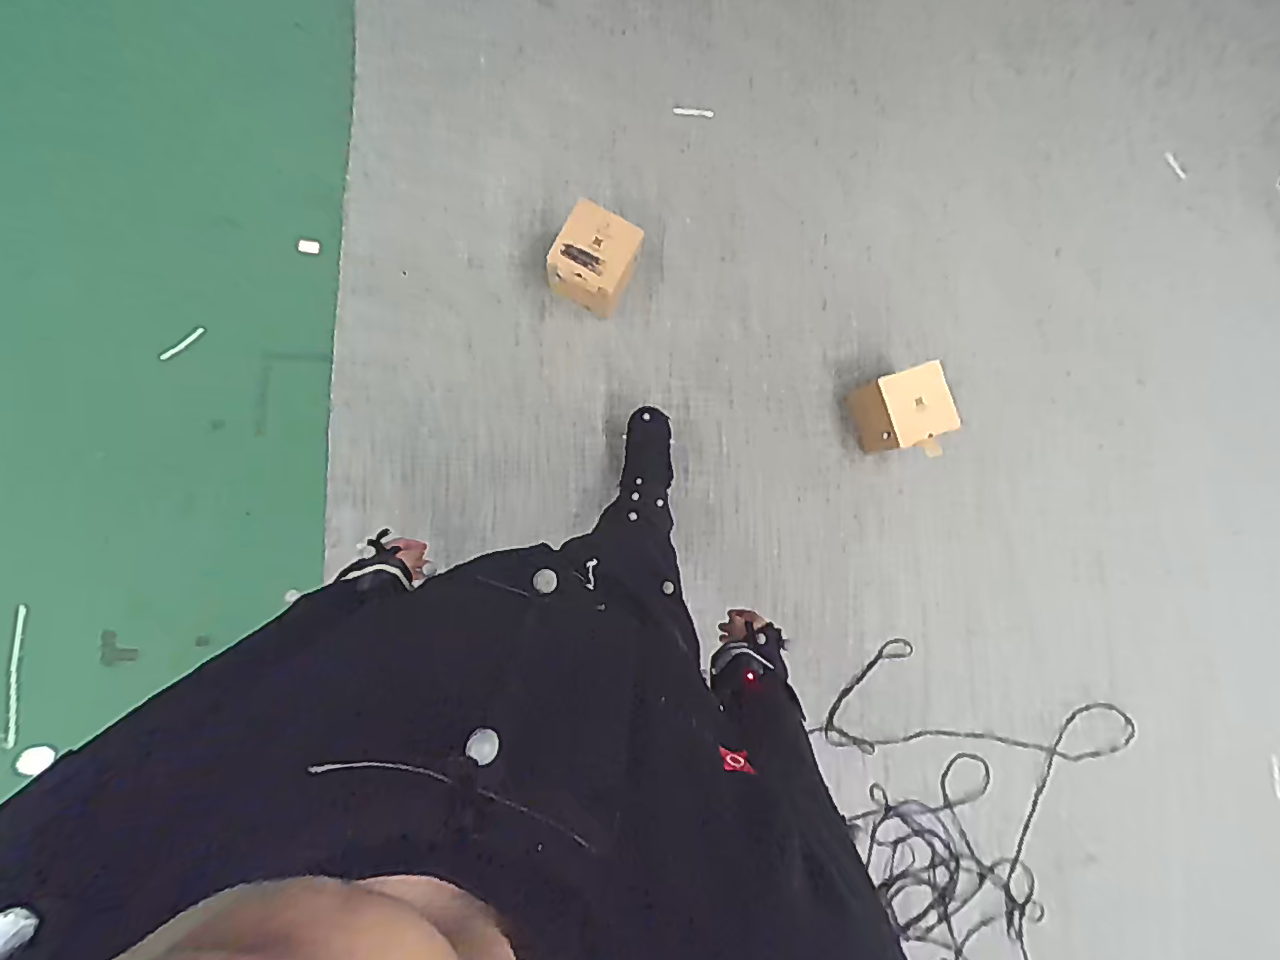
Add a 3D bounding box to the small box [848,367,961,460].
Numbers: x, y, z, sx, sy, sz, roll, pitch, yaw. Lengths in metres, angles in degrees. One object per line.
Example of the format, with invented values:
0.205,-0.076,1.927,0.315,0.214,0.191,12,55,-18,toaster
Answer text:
0.655,-0.160,1.362,0.168,0.176,0.179,-19,90,-6,small box
